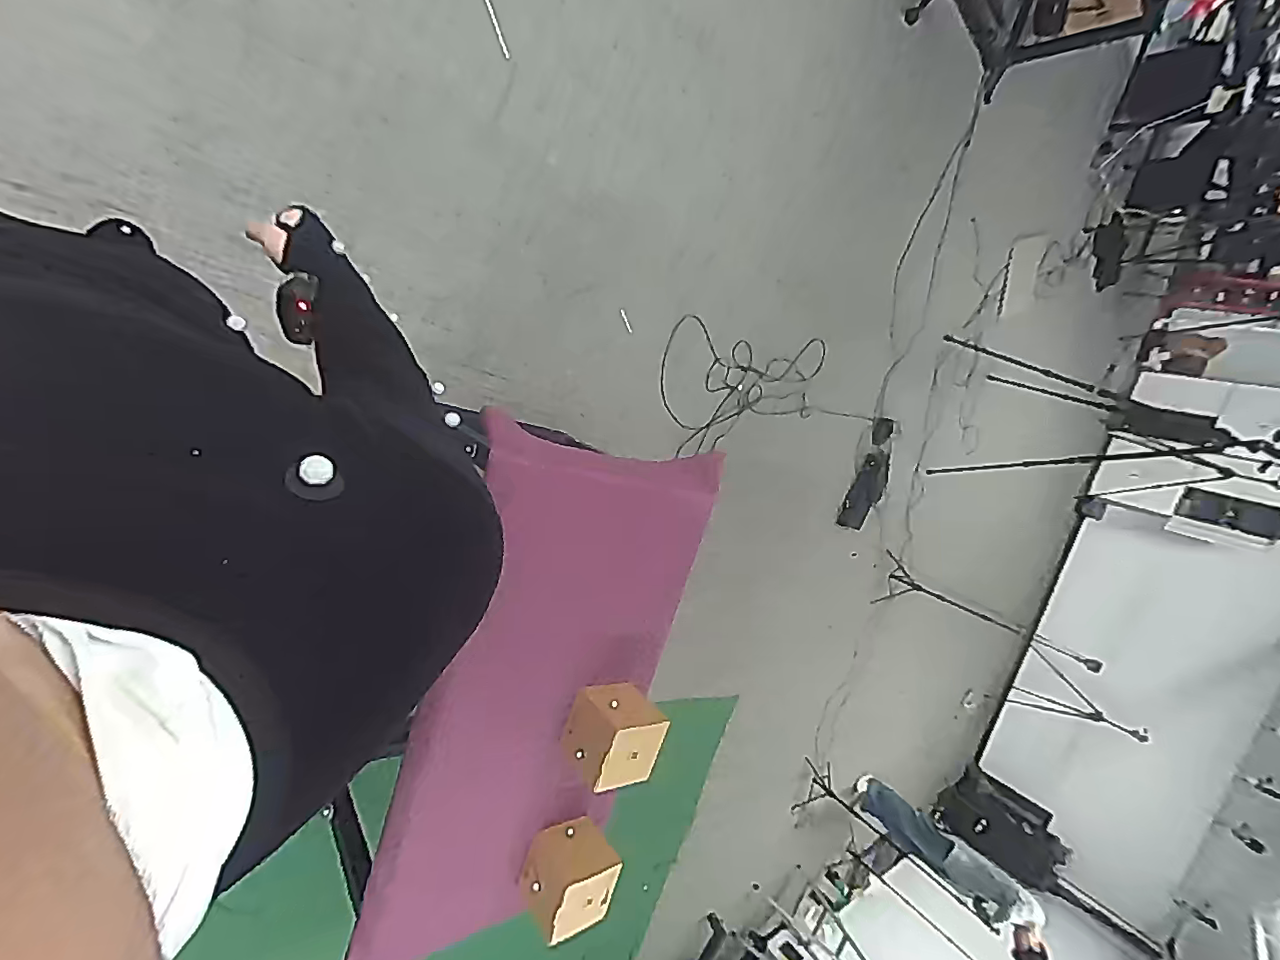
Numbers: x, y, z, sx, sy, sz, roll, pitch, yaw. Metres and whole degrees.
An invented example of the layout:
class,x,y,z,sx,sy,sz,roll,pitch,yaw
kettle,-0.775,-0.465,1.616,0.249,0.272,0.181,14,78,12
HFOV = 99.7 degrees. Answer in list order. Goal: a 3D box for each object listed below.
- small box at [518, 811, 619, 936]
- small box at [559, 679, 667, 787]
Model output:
class,x,y,z,sx,sy,sz,roll,pitch,yaw
small box,-0.189,0.995,1.385,0.179,0.176,0.168,12,100,-42
small box,-0.070,0.609,1.325,0.179,0.176,0.168,15,99,-43
